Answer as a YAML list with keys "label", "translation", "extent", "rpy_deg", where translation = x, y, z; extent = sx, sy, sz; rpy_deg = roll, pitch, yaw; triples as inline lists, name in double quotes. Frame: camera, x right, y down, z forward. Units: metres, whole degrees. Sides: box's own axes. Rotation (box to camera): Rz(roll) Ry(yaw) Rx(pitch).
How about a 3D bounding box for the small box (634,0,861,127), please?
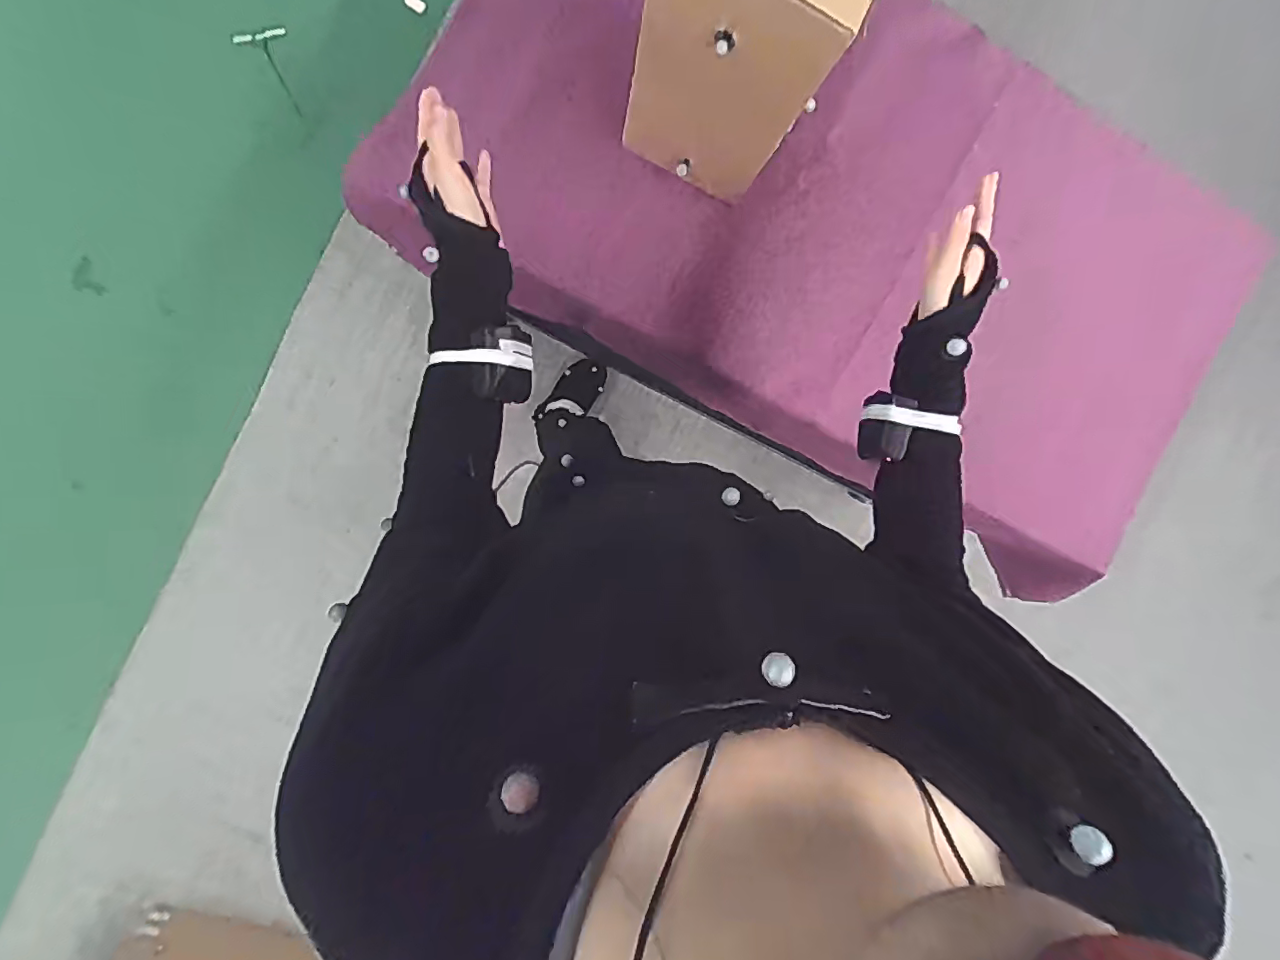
- label: "small box"
  translation: [0.109, -0.467, 0.492]
  extent: [0.179, 0.176, 0.168]
  rpy_deg: [24, 93, -7]

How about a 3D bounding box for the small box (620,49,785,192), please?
- label: "small box"
  translation: [0.089, -0.484, 0.655]
  extent: [0.179, 0.176, 0.168]
  rpy_deg: [24, 92, -9]
